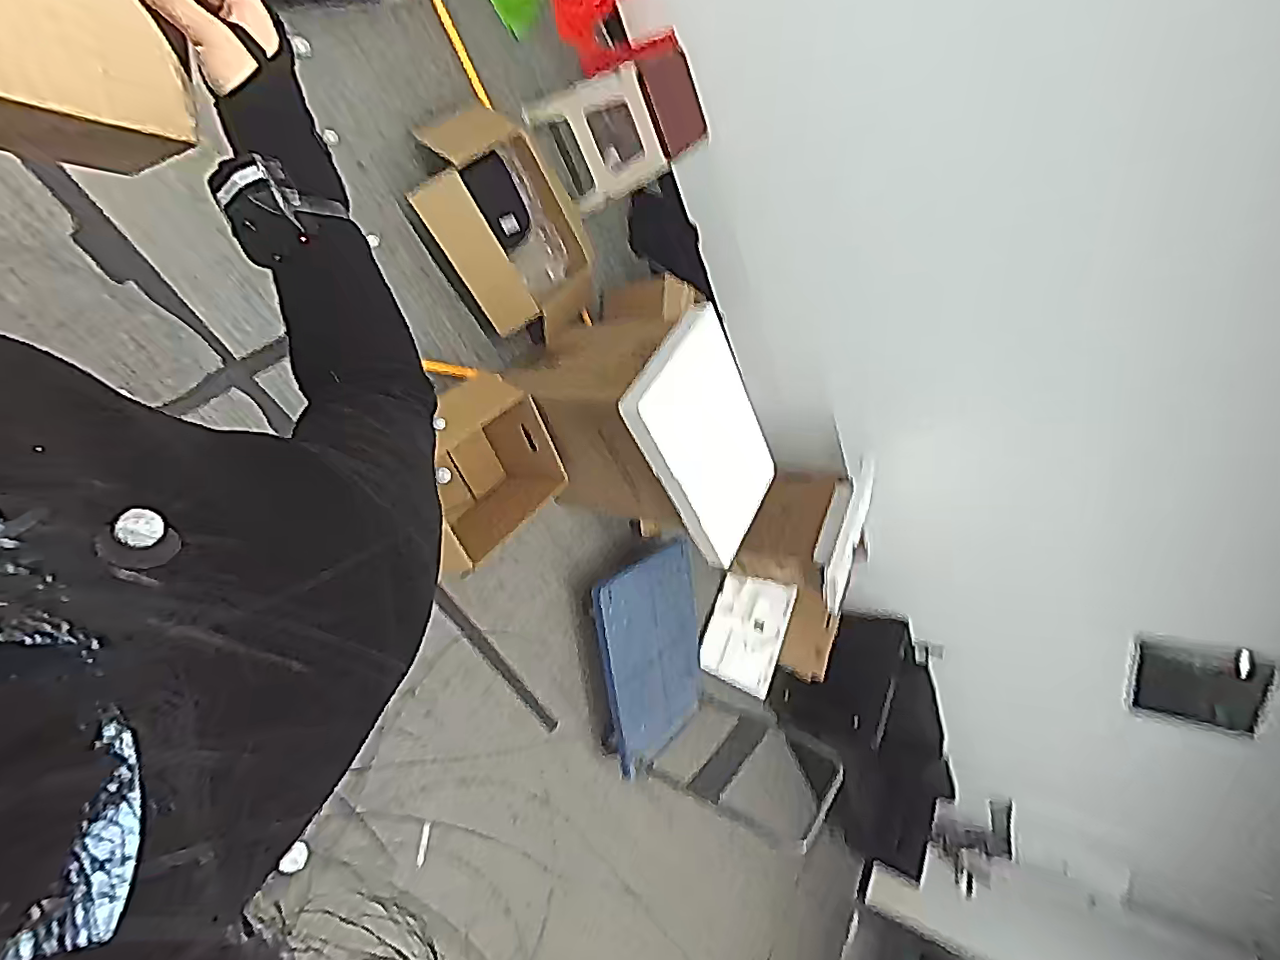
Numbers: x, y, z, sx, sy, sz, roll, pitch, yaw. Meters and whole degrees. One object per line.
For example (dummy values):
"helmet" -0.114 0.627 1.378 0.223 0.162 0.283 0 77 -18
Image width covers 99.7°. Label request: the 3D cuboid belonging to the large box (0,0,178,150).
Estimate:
"large box" -0.573 -0.420 0.309 0.408 0.320 0.320 -14 116 -46
